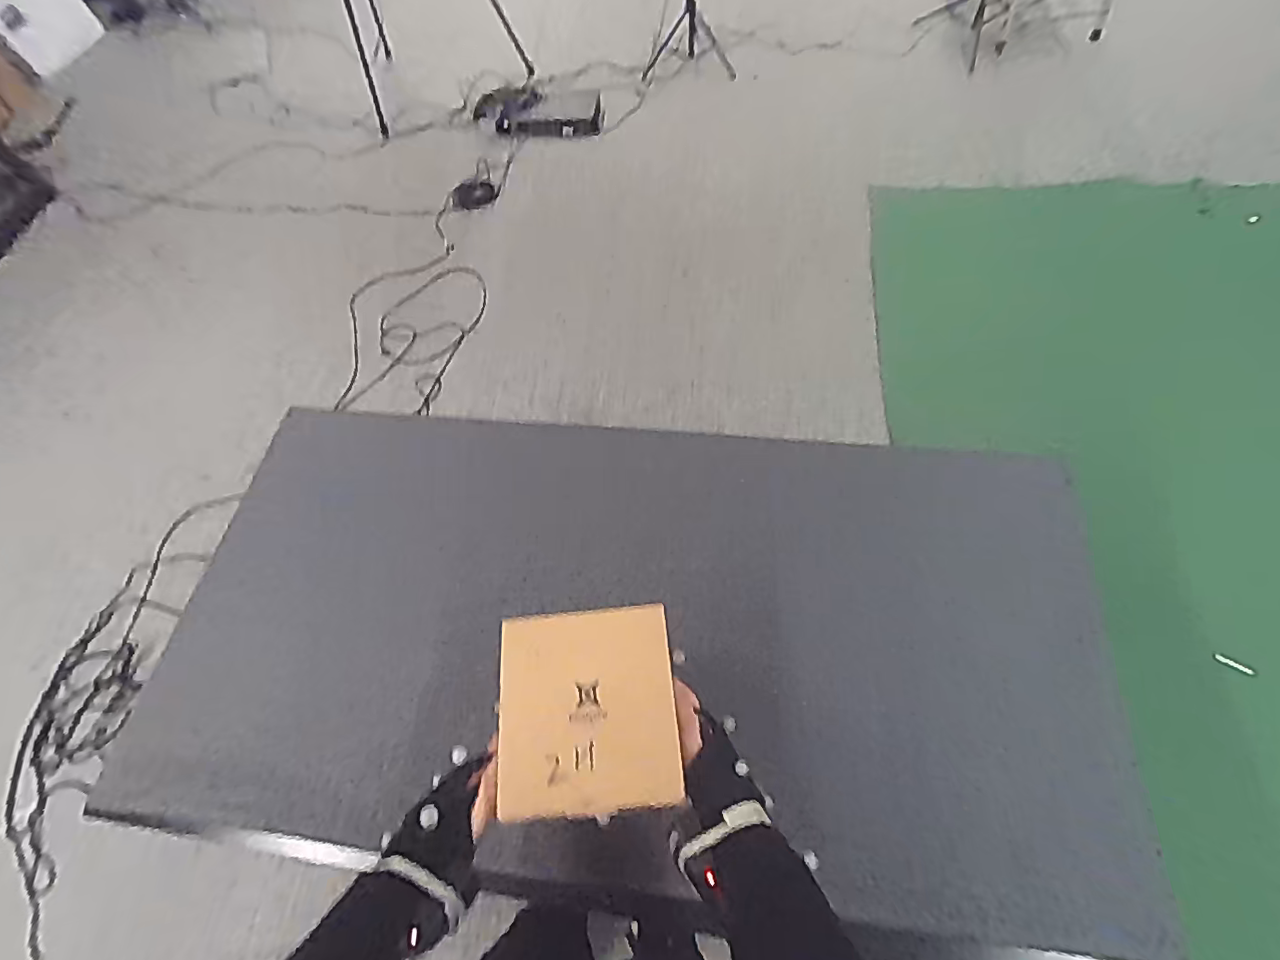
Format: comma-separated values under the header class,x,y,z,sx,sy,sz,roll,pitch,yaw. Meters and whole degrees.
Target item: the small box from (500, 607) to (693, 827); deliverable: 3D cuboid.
class,x,y,z,sx,sy,sz,roll,pitch,yaw
small box,-0.042,0.248,0.563,0.168,0.176,0.179,-6,61,-2
